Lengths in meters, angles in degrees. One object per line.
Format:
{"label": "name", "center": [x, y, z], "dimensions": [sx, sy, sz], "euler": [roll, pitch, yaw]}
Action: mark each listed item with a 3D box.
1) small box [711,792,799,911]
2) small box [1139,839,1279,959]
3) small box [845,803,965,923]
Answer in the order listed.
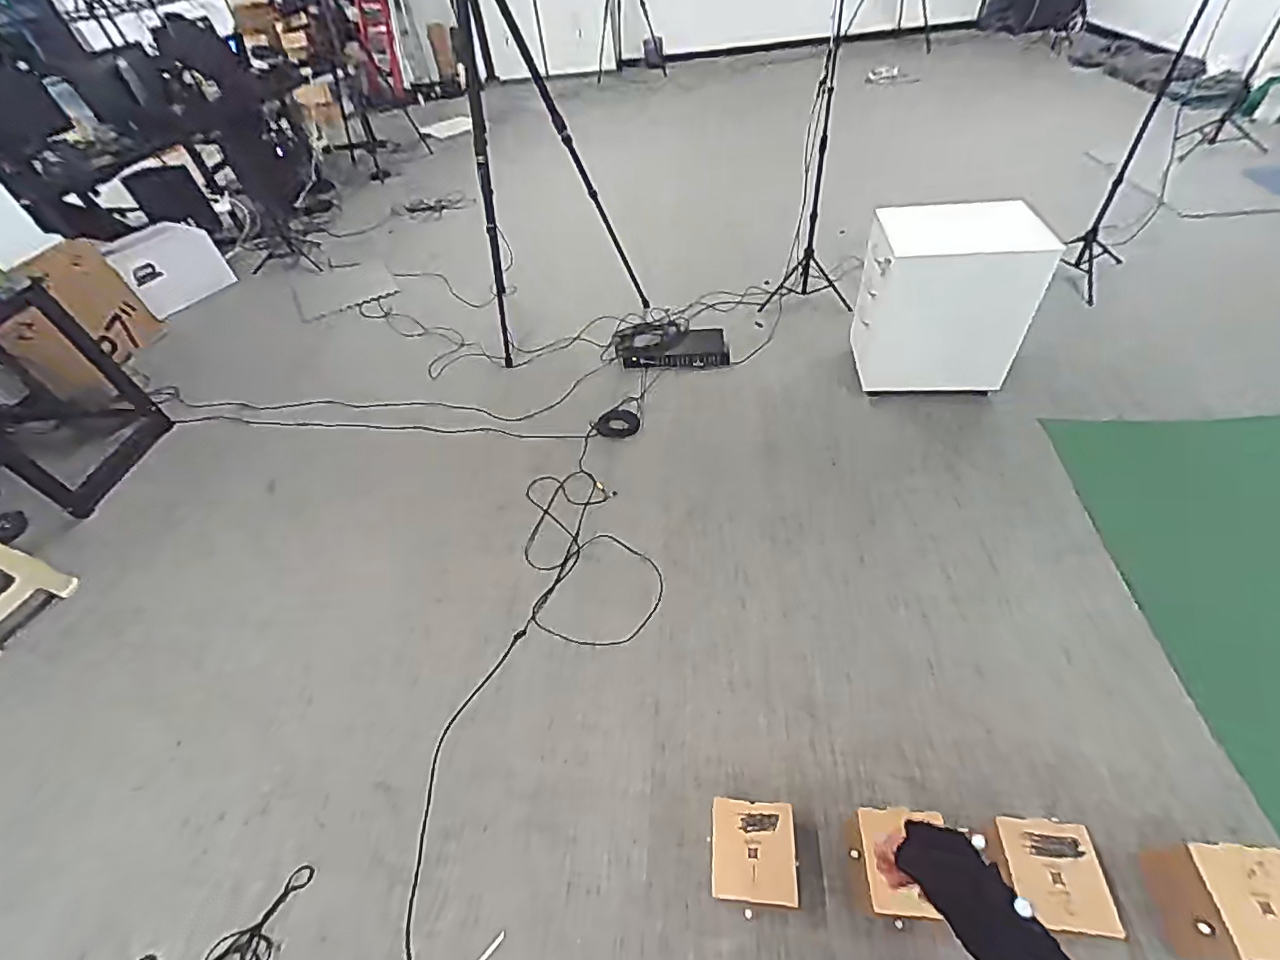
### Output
{"label": "small box", "center": [0.237, 0.786, 1.144], "dimensions": [0.168, 0.176, 0.179], "euler": [1, 49, 9]}
{"label": "small box", "center": [1.112, 0.799, 1.017], "dimensions": [0.168, 0.176, 0.179], "euler": [0, 48, 7]}
{"label": "small box", "center": [0.529, 0.785, 1.106], "dimensions": [0.168, 0.176, 0.179], "euler": [-1, 47, 7]}
